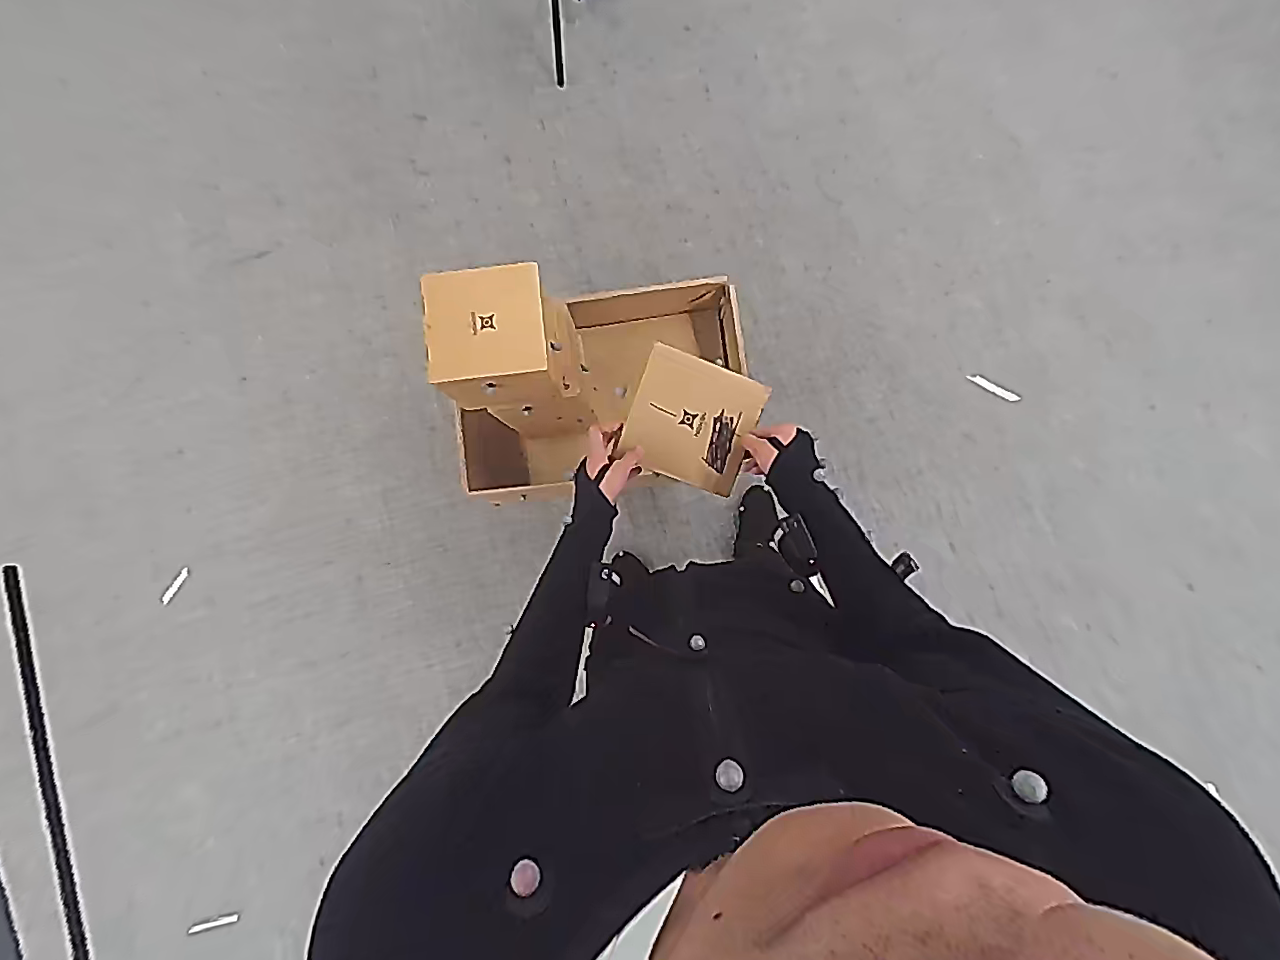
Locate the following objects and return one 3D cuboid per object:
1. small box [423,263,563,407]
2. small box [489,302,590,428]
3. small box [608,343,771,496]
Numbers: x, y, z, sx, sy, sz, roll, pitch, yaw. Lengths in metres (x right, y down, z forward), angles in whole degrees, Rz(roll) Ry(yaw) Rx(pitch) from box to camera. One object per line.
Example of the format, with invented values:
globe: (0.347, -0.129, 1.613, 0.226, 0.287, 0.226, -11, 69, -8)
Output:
small box: (-0.221, -0.220, 0.859, 0.179, 0.176, 0.168, -7, 85, 1)
small box: (-0.193, -0.209, 1.021, 0.168, 0.176, 0.179, -10, 84, 1)
small box: (0.062, -0.093, 0.806, 0.179, 0.176, 0.168, 19, 97, -10)
